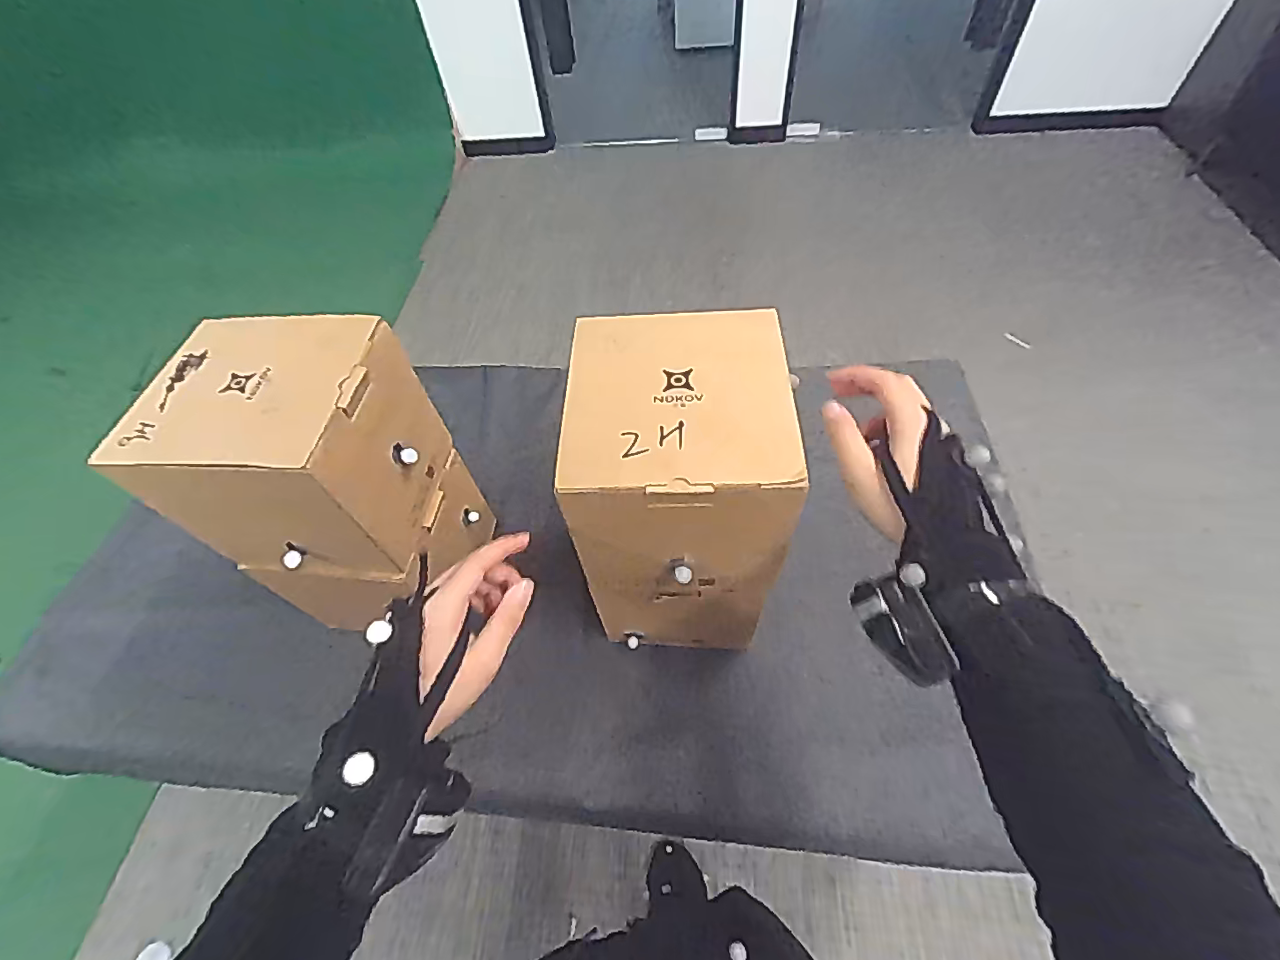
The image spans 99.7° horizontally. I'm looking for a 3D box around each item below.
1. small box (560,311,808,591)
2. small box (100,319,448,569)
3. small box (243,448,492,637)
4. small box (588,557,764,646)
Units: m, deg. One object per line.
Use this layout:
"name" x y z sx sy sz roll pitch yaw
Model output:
"small box" 0.035 -0.021 0.465 0.168 0.176 0.179 -2 54 4
"small box" -0.303 -0.028 0.501 0.179 0.176 0.168 1 54 5
"small box" -0.291 0.074 0.630 0.179 0.176 0.168 2 54 7
"small box" 0.045 0.073 0.602 0.168 0.176 0.179 2 54 5
